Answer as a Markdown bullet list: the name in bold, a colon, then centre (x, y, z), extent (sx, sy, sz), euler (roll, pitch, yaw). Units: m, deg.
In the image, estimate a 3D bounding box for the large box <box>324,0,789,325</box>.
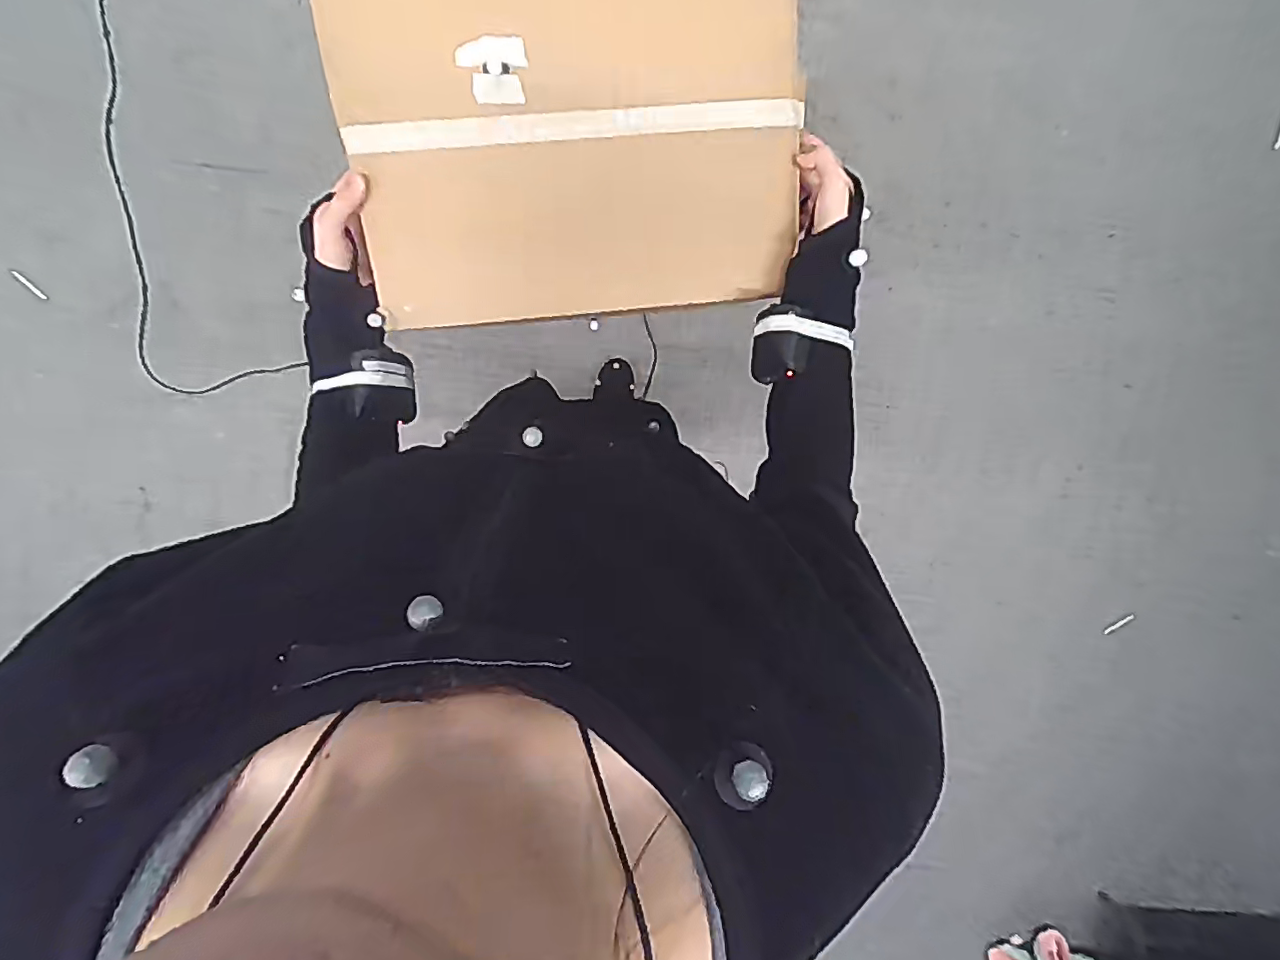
- **large box**: centre (-0.072, -0.364, 0.637), extent (0.408, 0.320, 0.320), euler (-7, 106, -5)
